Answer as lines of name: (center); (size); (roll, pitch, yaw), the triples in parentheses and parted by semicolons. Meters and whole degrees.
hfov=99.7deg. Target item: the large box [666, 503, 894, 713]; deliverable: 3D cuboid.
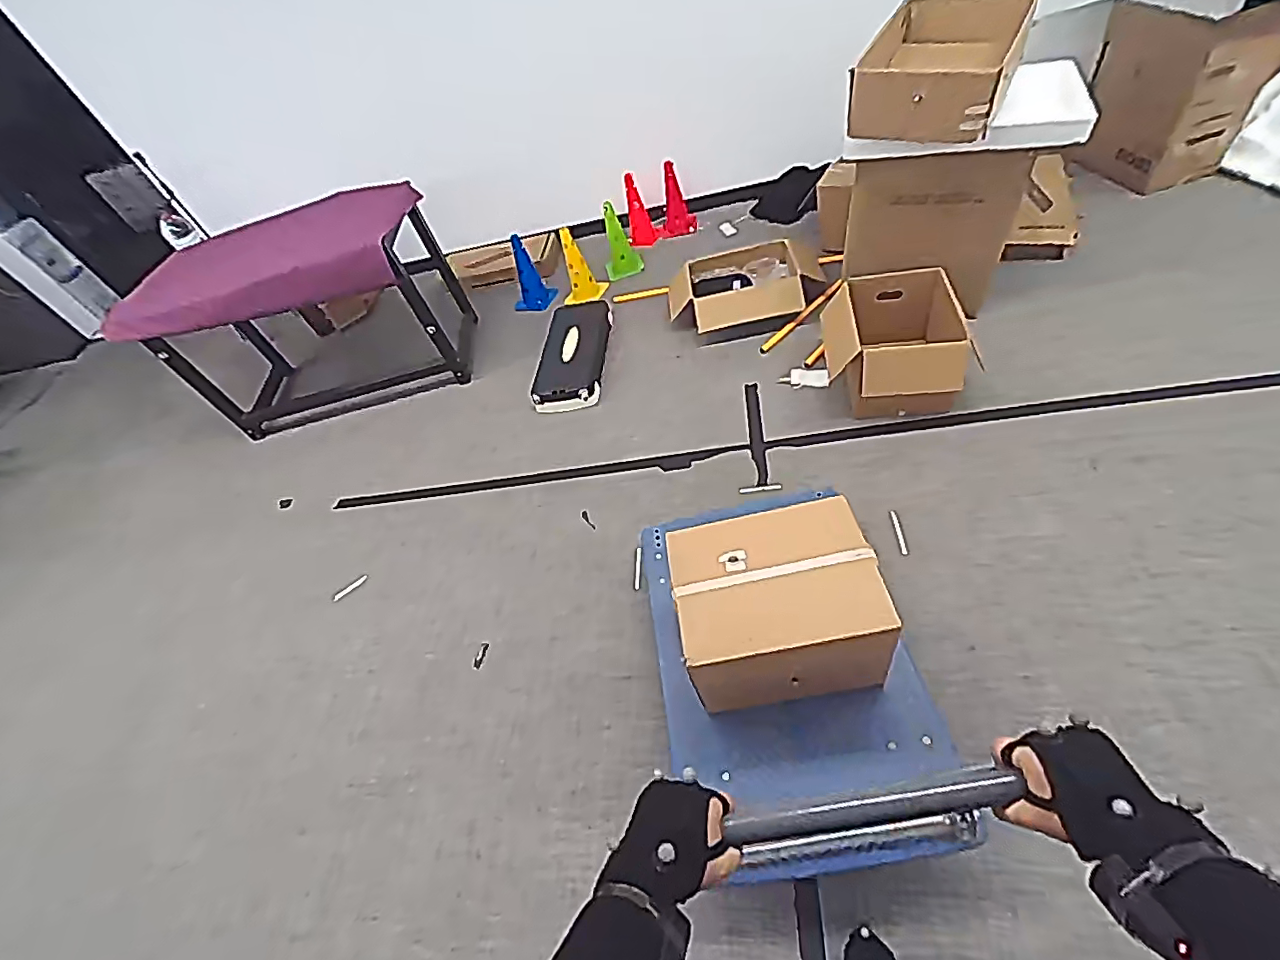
large box: (0.302, 0.301, 1.231); (0.408, 0.320, 0.320); (-14, 48, 7)
